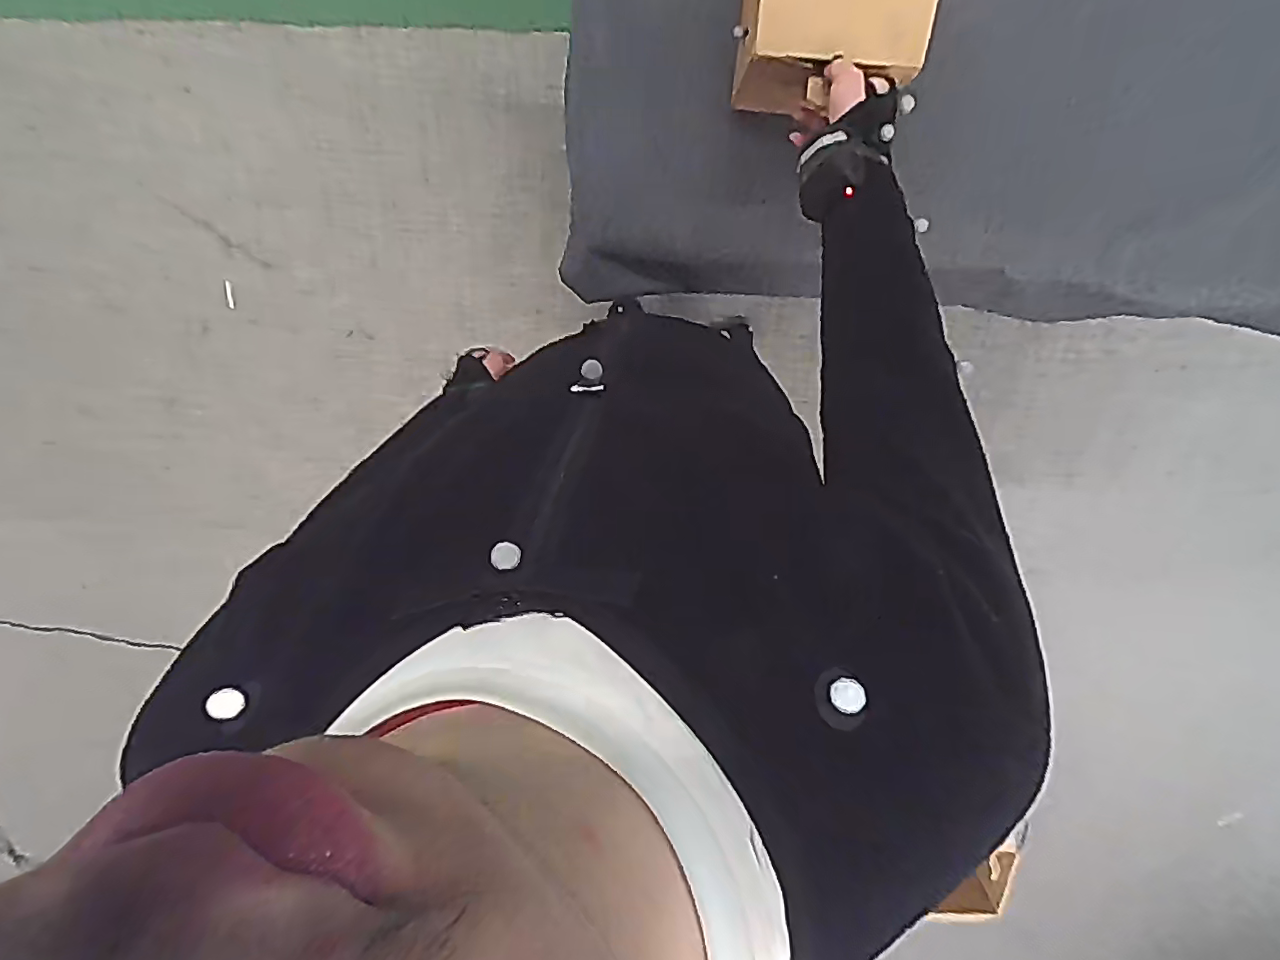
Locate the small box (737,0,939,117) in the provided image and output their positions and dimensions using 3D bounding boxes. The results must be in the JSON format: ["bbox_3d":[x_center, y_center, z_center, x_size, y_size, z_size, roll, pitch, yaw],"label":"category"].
[{"bbox_3d":[0.203,-0.508,0.571,0.168,0.176,0.179,5,110,-2],"label":"small box"}]
